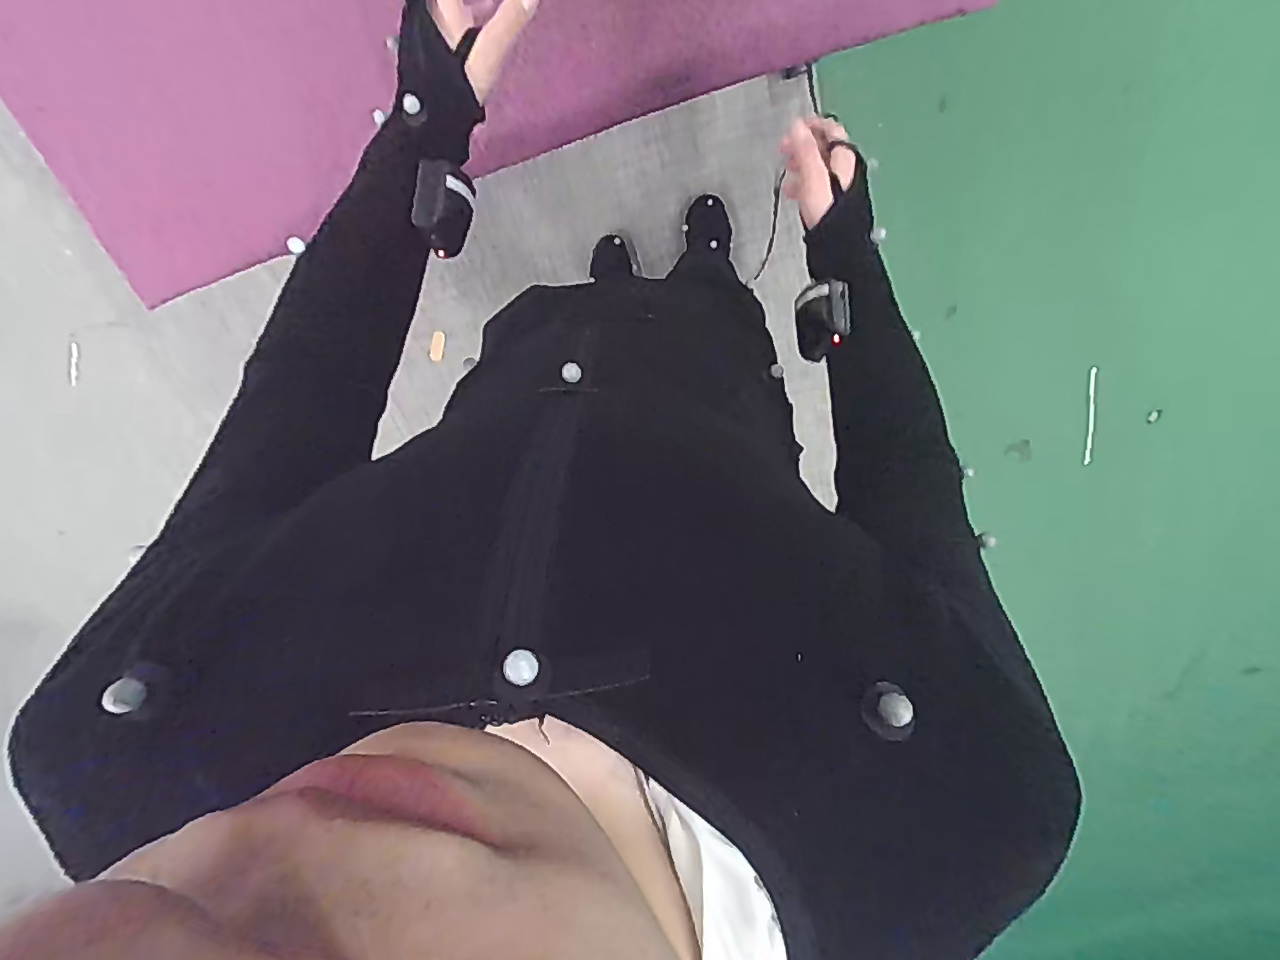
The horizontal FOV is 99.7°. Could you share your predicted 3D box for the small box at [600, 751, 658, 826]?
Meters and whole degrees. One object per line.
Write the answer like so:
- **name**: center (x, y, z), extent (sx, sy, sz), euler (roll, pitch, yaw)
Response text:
- **small box**: center (-0.037, 1.150, 2.022), extent (0.179, 0.176, 0.168), euler (-15, 114, 7)
